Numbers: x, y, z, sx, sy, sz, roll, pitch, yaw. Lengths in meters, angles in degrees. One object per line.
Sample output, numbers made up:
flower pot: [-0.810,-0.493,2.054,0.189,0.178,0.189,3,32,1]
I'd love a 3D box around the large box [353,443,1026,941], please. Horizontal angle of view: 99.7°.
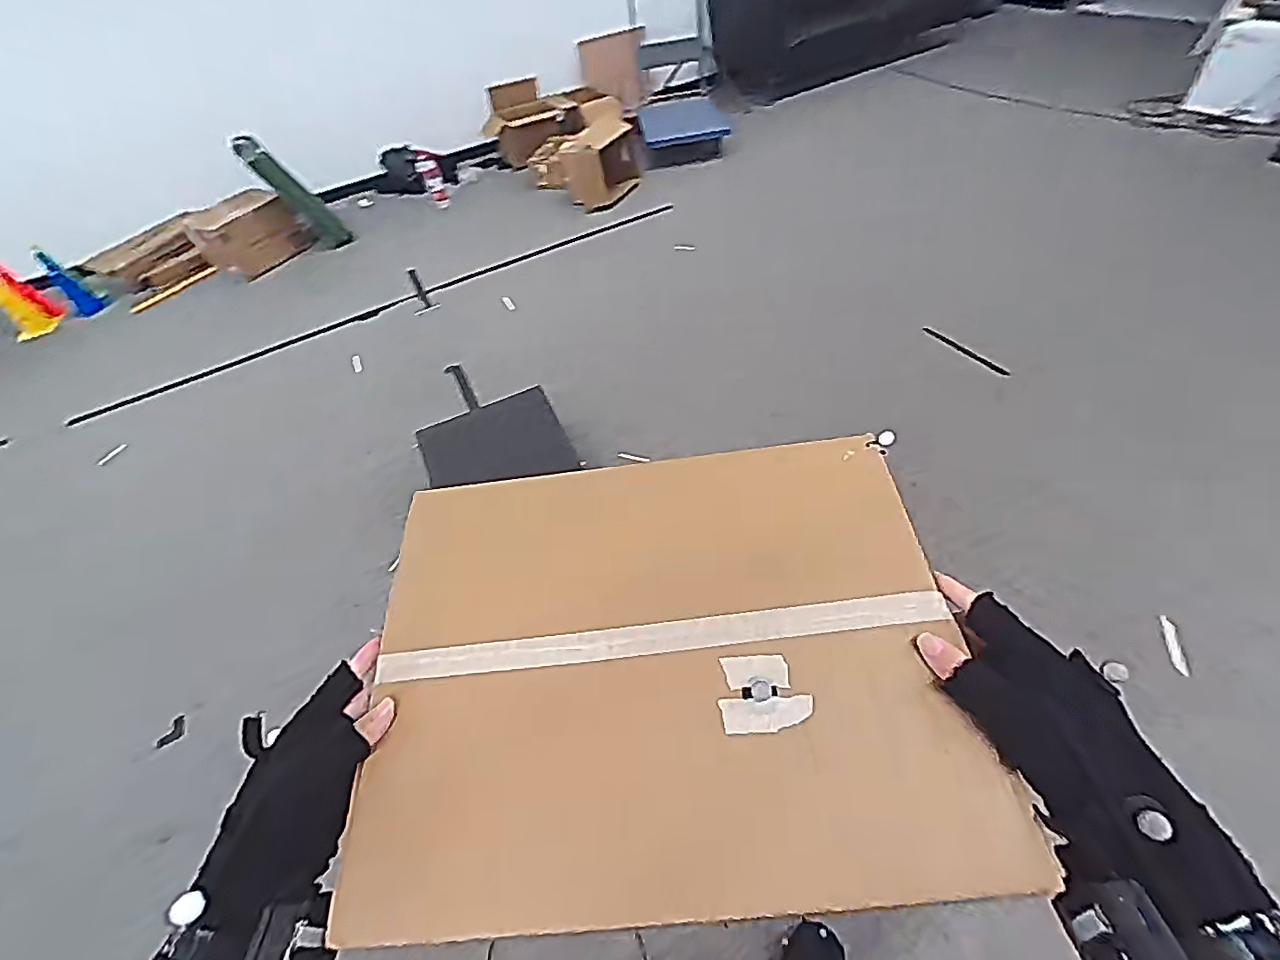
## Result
large box: [0.026,0.203,0.517,0.408,0.320,0.320,-7,55,2]
